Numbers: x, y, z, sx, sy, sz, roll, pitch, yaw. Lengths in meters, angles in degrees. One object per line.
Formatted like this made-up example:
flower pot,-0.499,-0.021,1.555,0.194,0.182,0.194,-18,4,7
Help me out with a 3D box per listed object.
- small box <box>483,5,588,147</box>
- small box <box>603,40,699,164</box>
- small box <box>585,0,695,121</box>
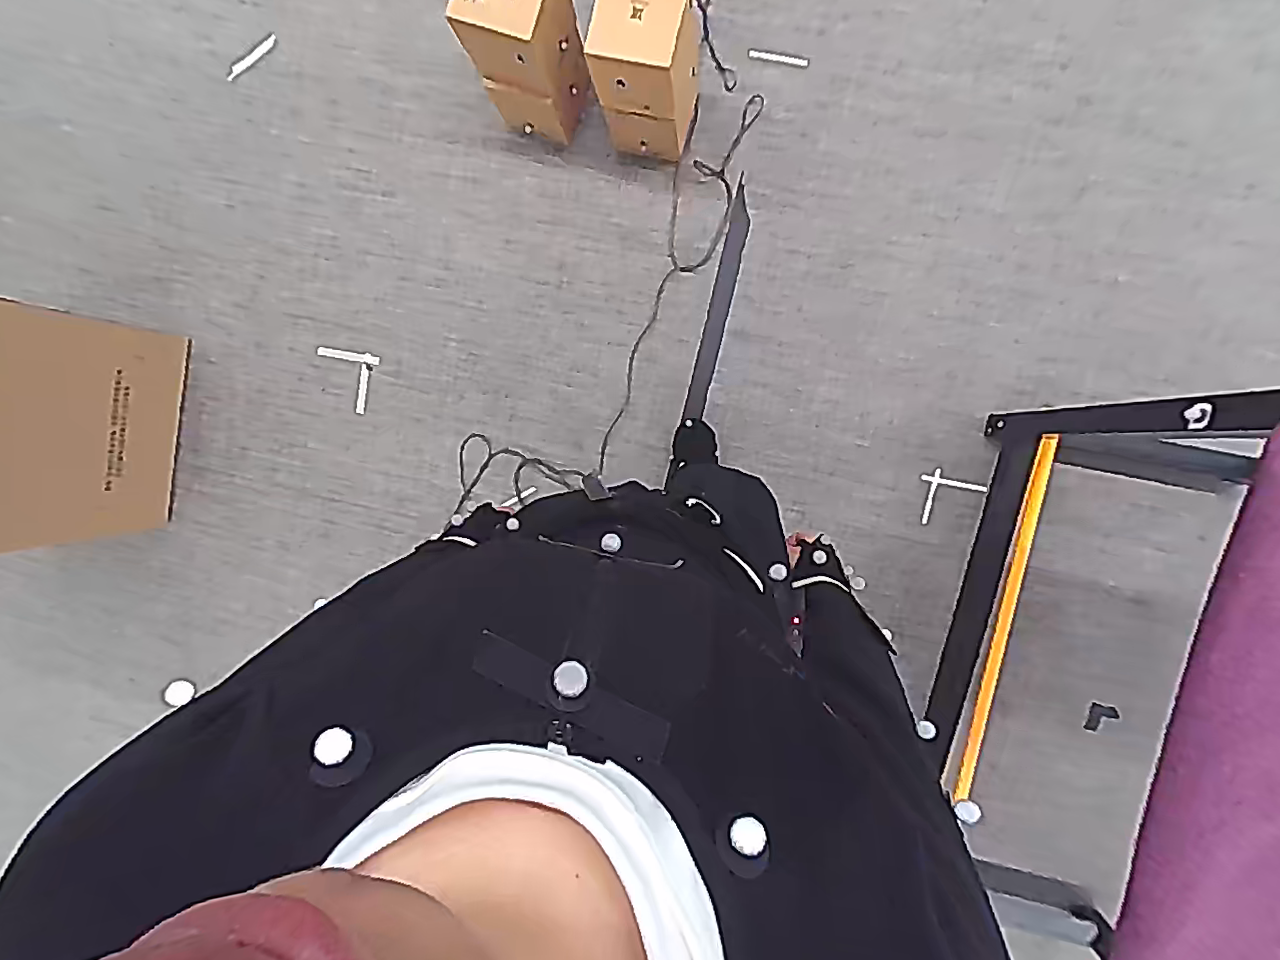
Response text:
small box,-0.228,-0.908,1.231,0.168,0.176,0.179,20,97,5
small box,0.030,-0.849,1.208,0.168,0.176,0.179,15,96,6
small box,0.008,-0.840,1.047,0.168,0.176,0.179,15,94,6
